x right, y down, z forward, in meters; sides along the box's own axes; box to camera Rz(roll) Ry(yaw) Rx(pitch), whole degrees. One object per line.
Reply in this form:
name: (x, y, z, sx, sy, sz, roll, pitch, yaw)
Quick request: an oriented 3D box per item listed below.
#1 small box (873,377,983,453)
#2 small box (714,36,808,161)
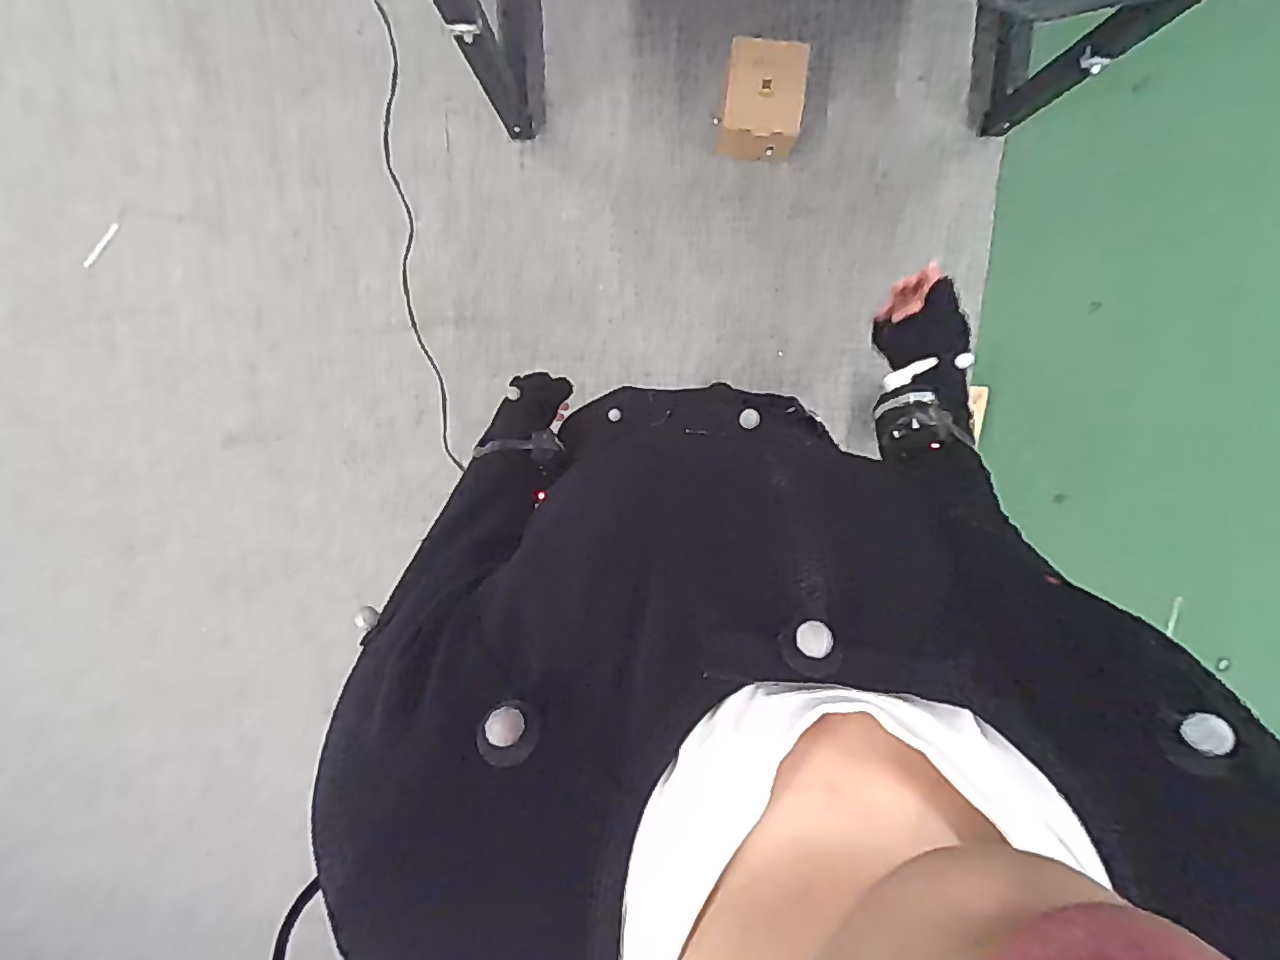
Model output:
small box: (0.708, -0.167, 1.351, 0.179, 0.176, 0.168, 6, 101, 0)
small box: (0.263, -0.846, 1.218, 0.168, 0.176, 0.179, 4, 100, -1)
